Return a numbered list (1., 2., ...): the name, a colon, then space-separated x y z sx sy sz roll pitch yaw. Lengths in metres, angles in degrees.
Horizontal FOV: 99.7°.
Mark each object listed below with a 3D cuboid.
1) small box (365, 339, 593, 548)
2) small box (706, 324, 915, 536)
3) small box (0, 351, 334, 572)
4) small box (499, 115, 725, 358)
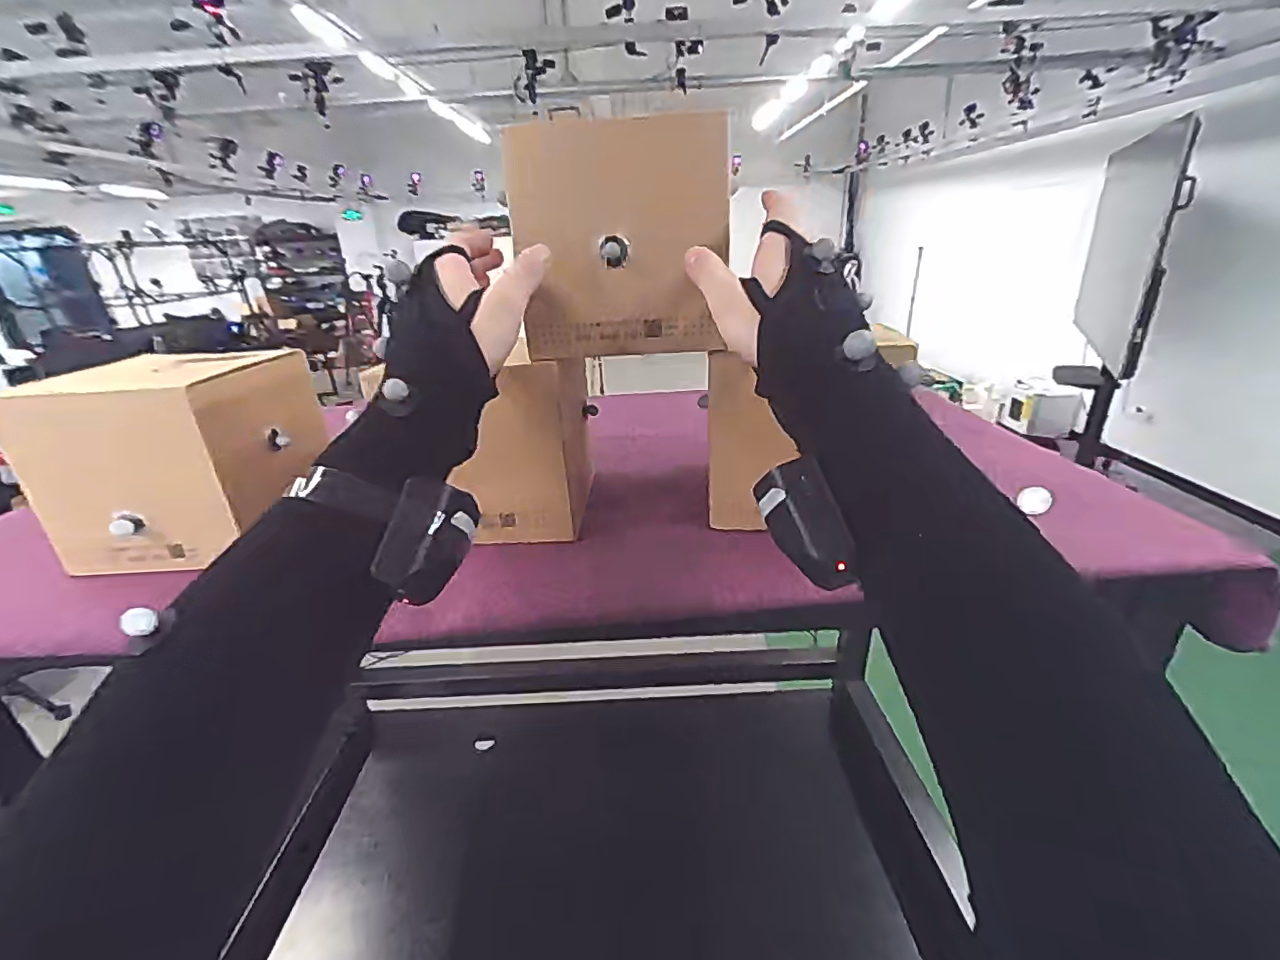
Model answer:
1. small box: -0.142 -0.045 0.551 0.168 0.176 0.179 -2 24 3
2. small box: 0.152 -0.058 0.541 0.168 0.176 0.179 -1 22 9
3. small box: -0.432 -0.026 0.533 0.168 0.176 0.179 -3 24 0
4. small box: -0.012 -0.206 0.488 0.168 0.176 0.179 -2 23 3
